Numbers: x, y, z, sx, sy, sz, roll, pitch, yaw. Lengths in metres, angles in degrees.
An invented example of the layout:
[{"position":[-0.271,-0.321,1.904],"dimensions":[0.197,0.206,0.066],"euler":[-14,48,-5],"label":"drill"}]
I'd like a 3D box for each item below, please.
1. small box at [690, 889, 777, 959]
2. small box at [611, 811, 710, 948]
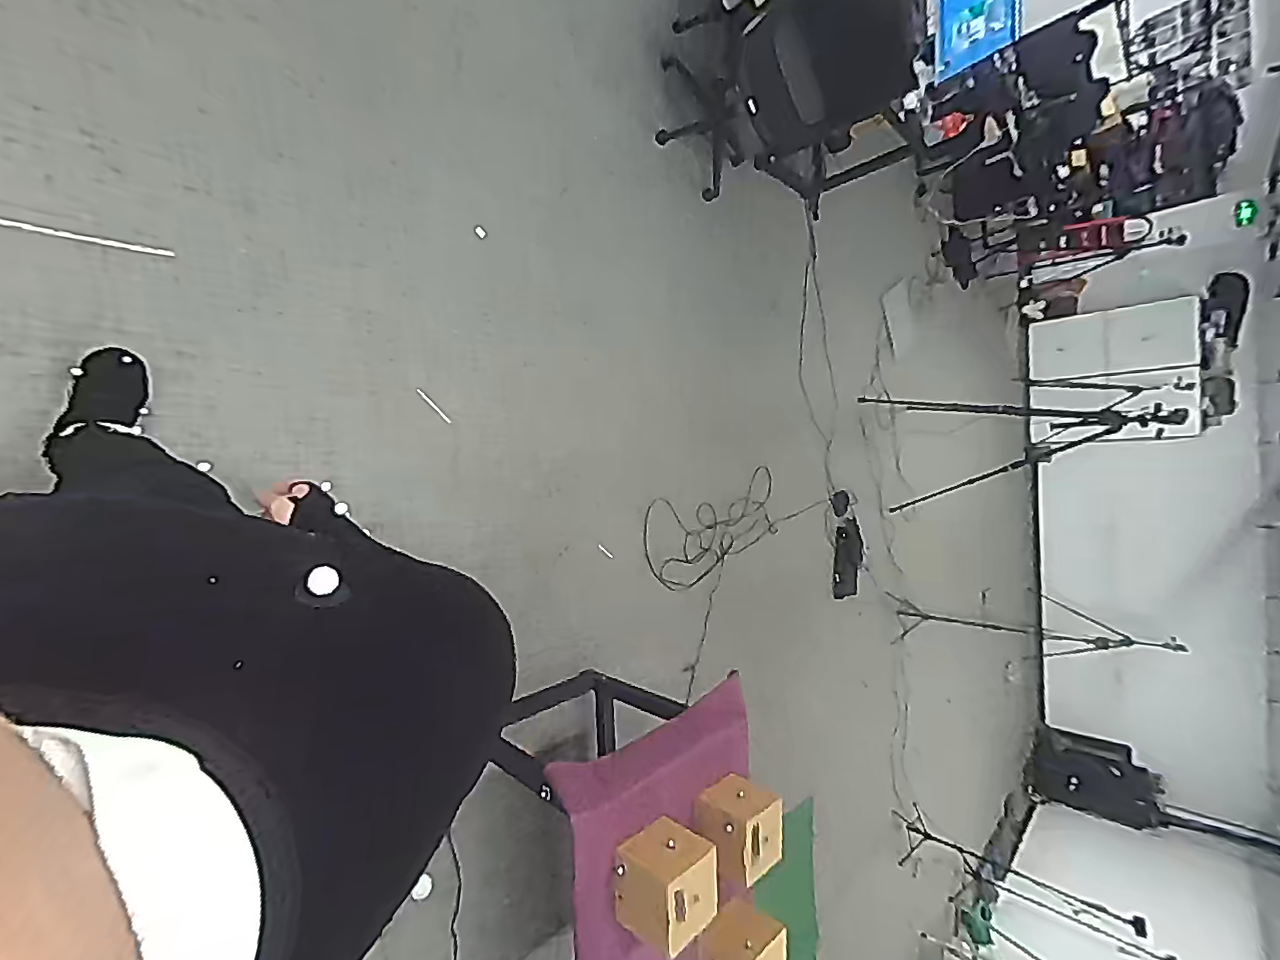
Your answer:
[{"position":[0.258,1.285,1.491],"dimensions":[0.179,0.176,0.168],"euler":[2,89,-44],"label":"small box"},{"position":[0.045,0.925,1.272],"dimensions":[0.179,0.176,0.168],"euler":[-1,91,-47],"label":"small box"}]
